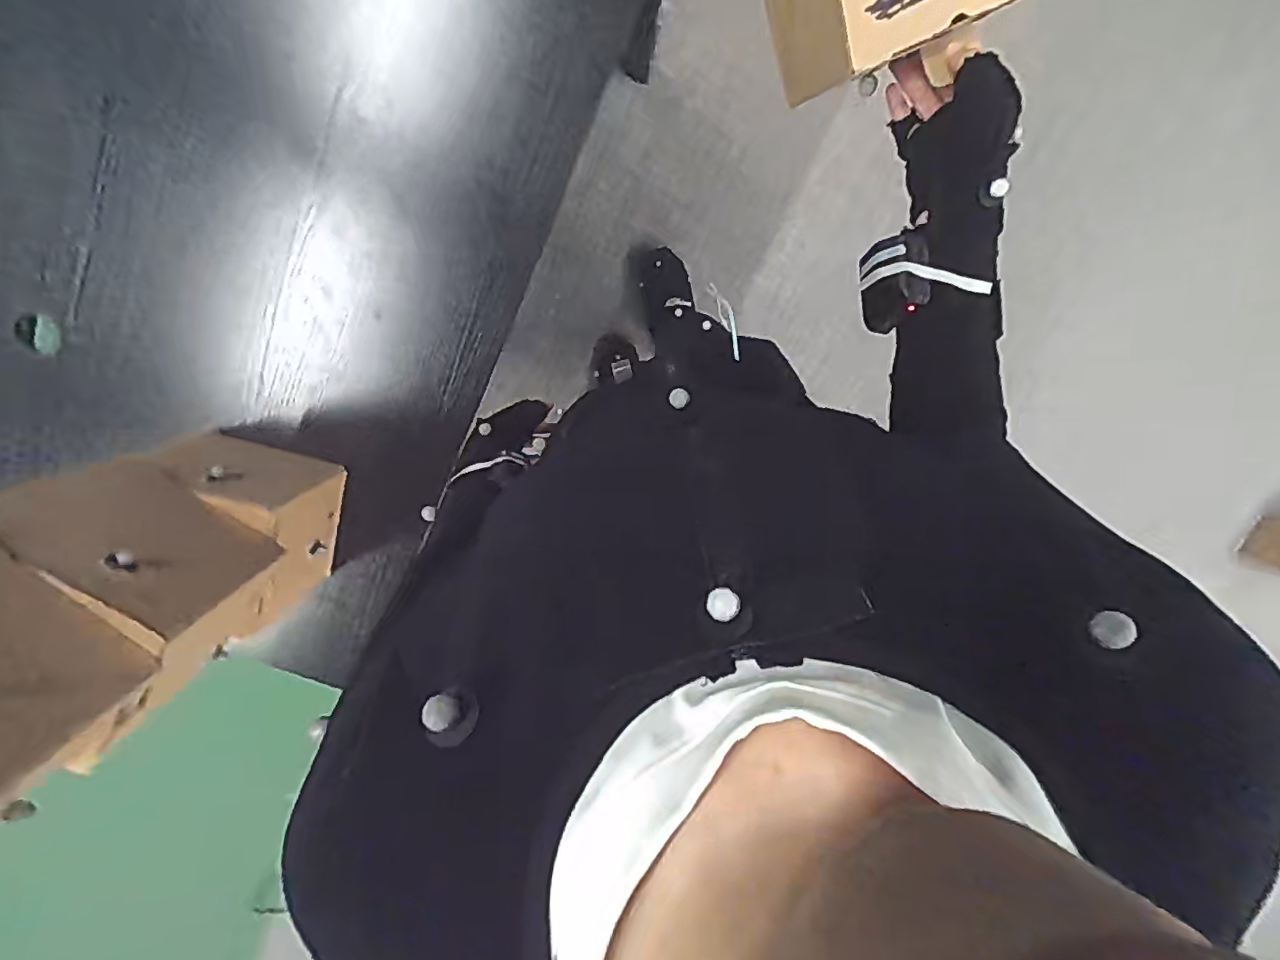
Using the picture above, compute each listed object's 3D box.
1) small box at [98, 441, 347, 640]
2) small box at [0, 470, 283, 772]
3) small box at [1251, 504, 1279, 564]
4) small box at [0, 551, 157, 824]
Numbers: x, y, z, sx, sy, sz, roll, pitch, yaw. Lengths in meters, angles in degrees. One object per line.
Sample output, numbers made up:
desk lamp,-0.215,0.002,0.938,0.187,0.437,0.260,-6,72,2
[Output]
small box,-0.489,0.061,0.650,0.179,0.176,0.168,15,106,-9
small box,-0.480,0.113,0.494,0.179,0.176,0.168,36,101,-13
small box,1.995,0.190,1.600,0.168,0.176,0.179,18,105,-9
small box,-0.477,0.162,0.337,0.168,0.176,0.179,-41,107,8
